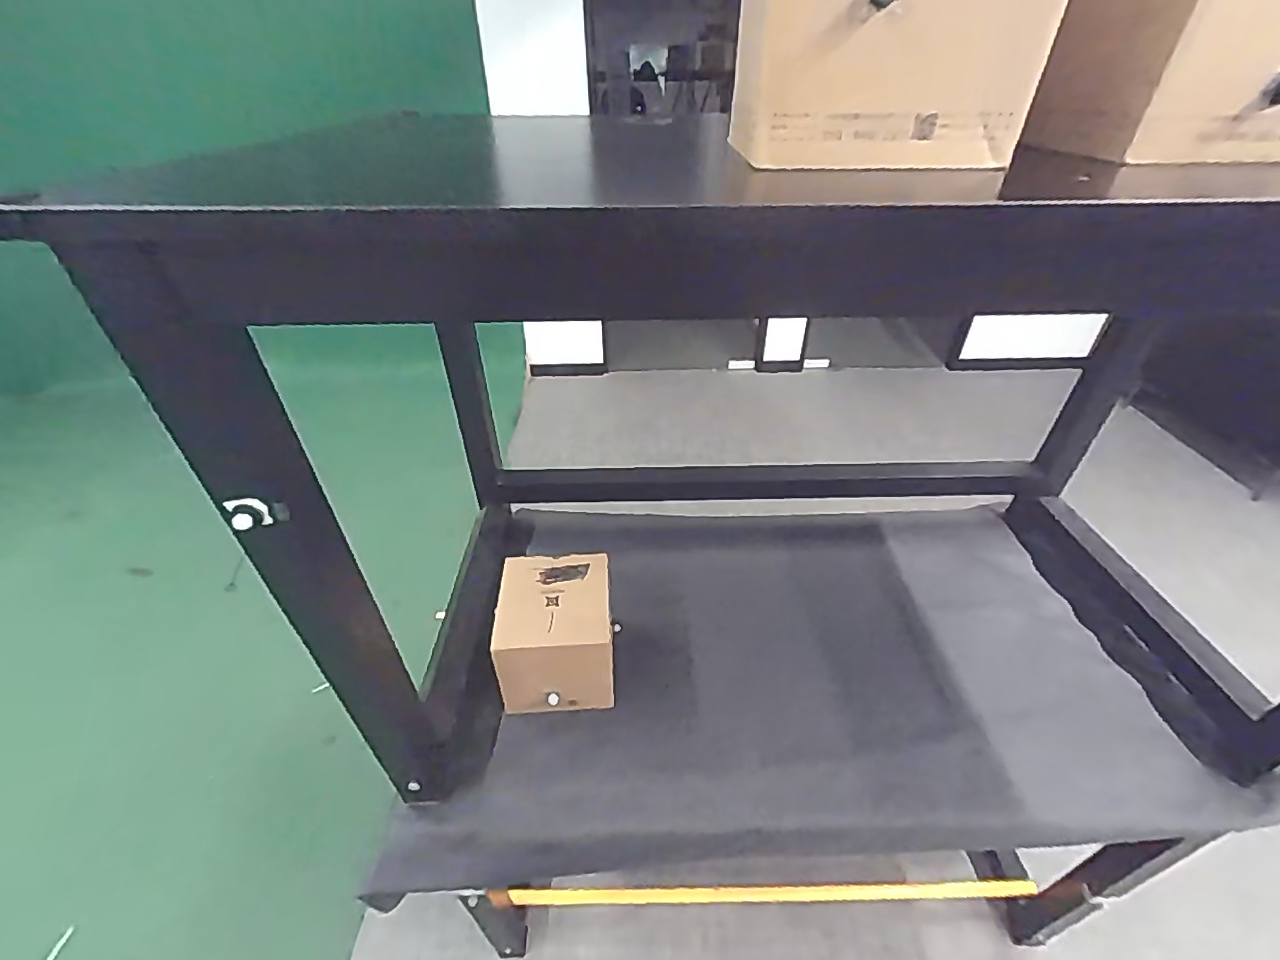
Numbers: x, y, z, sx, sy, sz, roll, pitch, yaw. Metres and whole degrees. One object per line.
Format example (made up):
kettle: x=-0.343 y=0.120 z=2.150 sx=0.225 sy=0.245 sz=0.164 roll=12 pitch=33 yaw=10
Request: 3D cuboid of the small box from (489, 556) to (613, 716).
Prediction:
small box: x=-0.129 y=0.242 z=0.849 sx=0.168 sy=0.176 sz=0.179 roll=-3 pitch=37 yaw=-2
